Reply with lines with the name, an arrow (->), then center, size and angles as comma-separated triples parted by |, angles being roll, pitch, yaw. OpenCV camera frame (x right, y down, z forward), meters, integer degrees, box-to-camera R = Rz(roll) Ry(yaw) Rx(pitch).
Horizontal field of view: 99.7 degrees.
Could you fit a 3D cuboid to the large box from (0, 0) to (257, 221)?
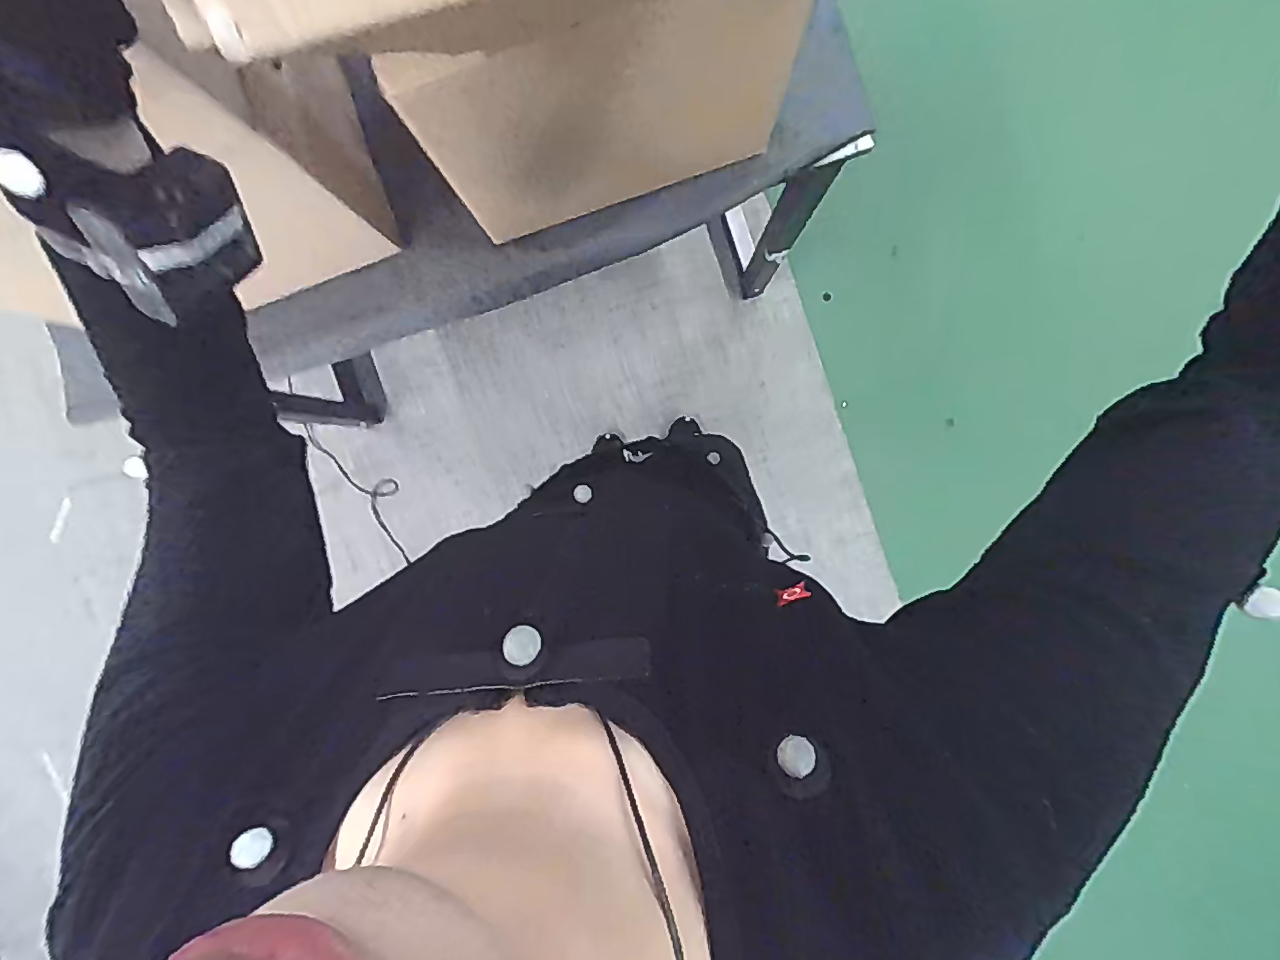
large box -> -0.564, -0.379, 0.322 | 0.408, 0.320, 0.320 | -19, 94, 1
